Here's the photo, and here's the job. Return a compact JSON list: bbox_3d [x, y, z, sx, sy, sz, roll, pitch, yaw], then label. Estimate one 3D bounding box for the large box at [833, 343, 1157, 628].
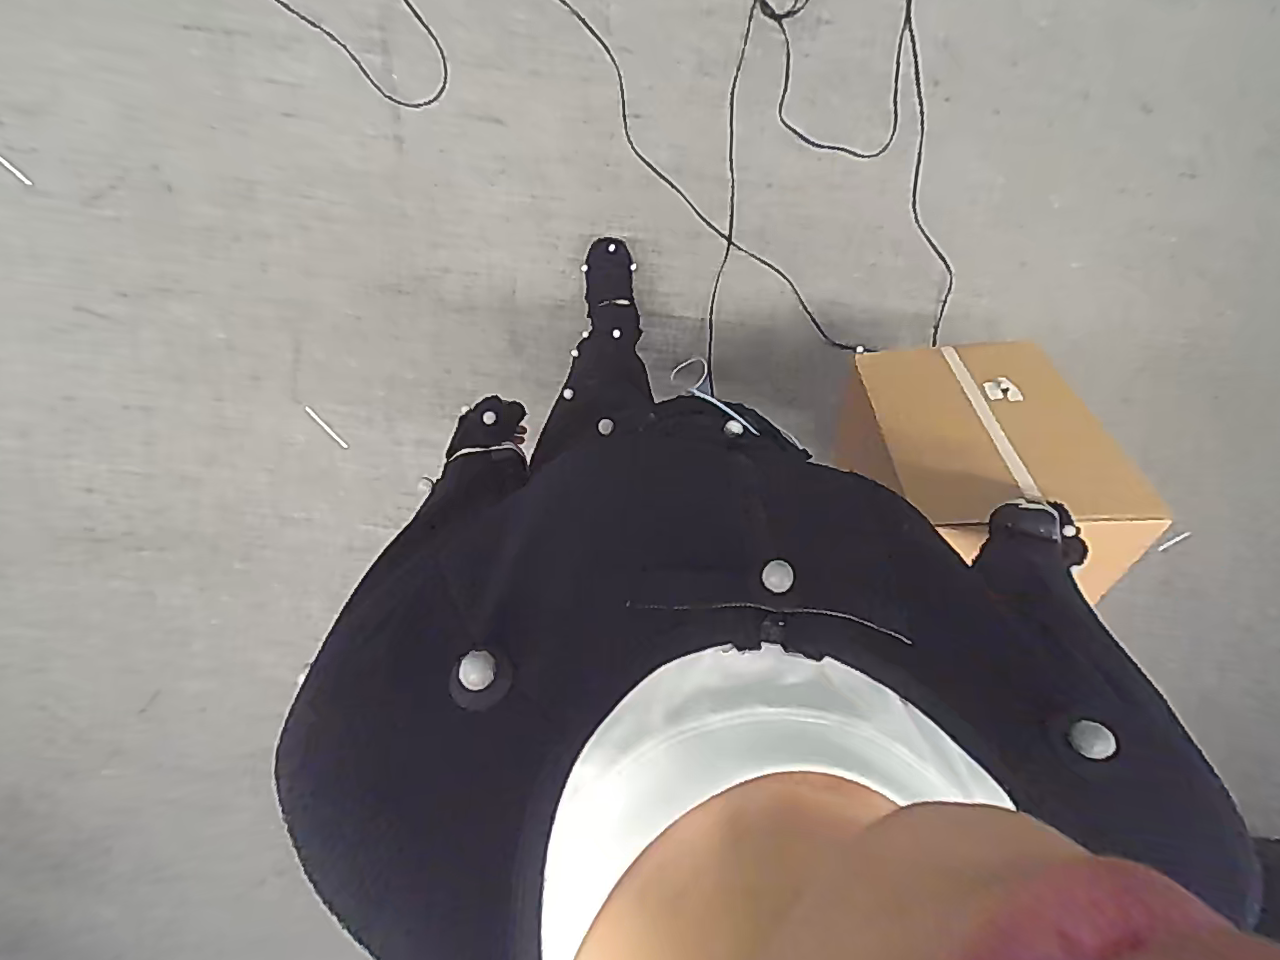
[{"bbox_3d":[0.551,0.009,0.957,0.320,0.408,0.320,-2,136,7],"label":"large box"}]
